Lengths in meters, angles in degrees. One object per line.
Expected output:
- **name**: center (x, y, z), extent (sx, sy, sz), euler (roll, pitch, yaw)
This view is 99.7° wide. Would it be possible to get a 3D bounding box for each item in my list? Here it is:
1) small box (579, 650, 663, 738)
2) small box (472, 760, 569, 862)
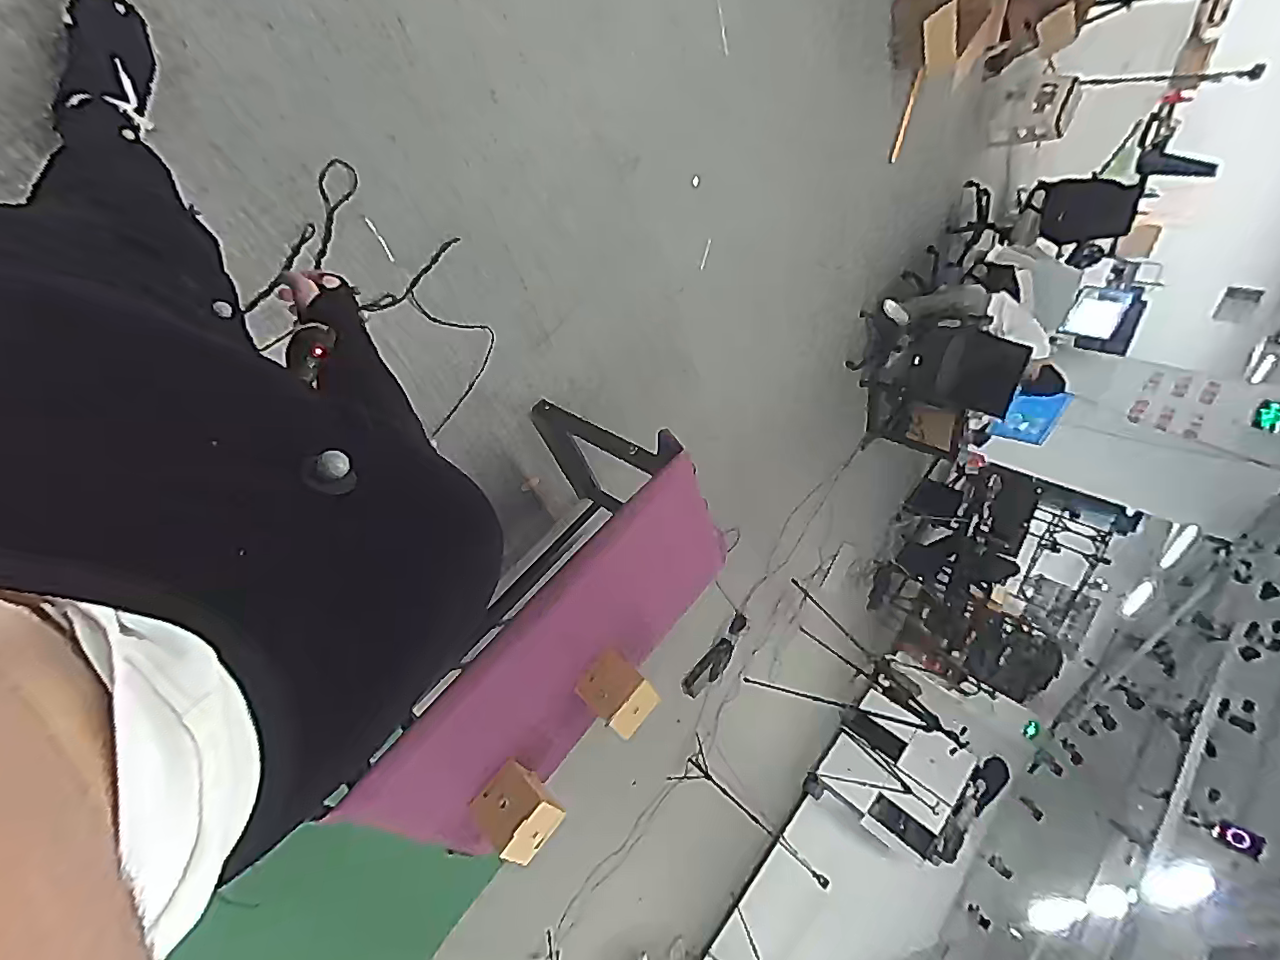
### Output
- **small box**: center (-0.061, 0.657, 1.676), extent (0.168, 0.176, 0.179), euler (-45, 139, -19)
- **small box**: center (-0.339, 0.929, 1.528), extent (0.168, 0.176, 0.179), euler (-45, 139, -20)
